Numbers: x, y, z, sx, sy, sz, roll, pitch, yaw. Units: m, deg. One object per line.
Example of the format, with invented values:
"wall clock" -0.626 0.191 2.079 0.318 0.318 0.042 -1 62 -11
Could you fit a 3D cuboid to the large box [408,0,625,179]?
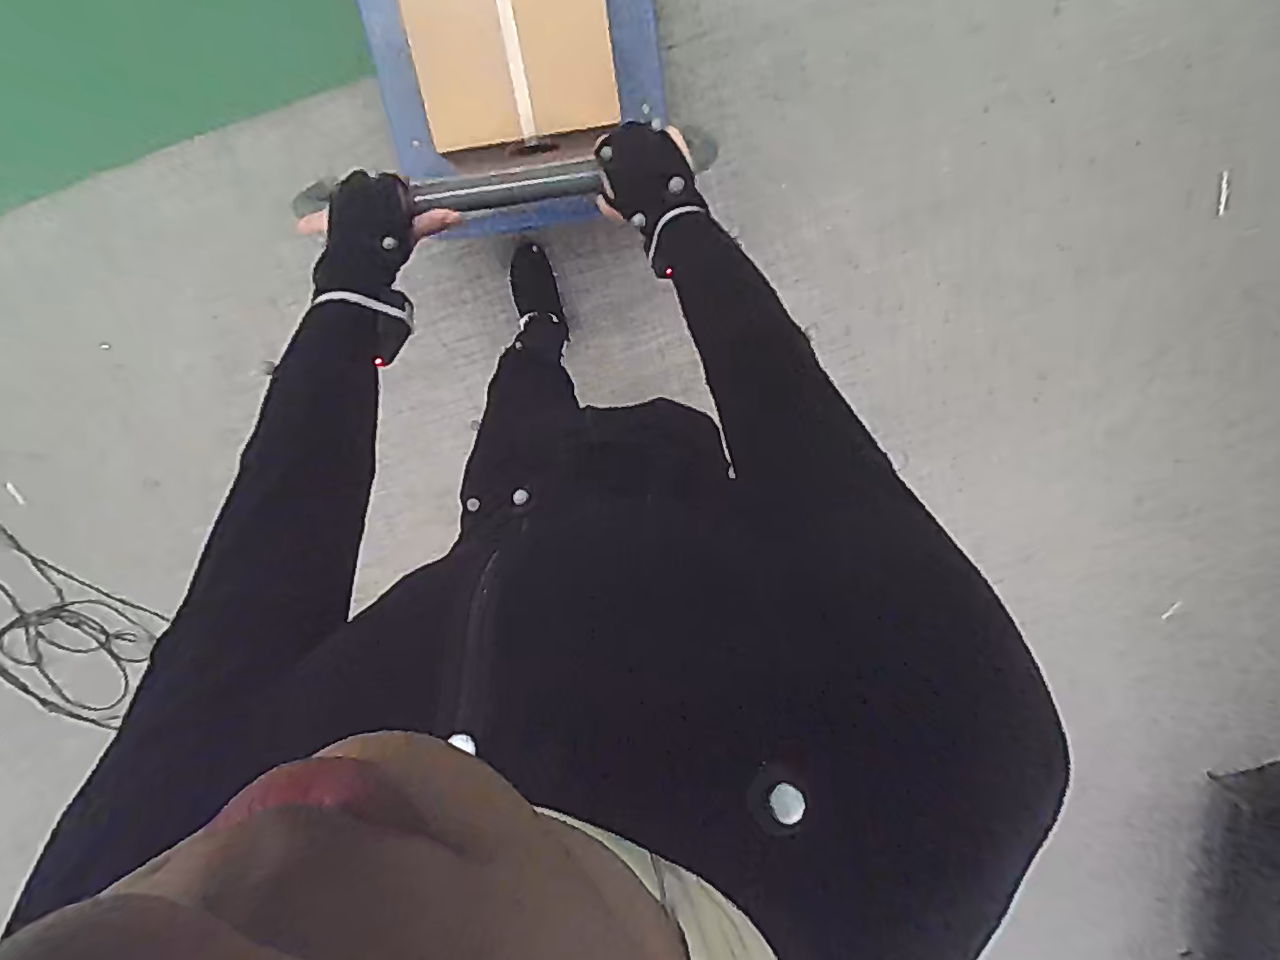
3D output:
"large box" -0.213 -0.812 0.973 0.320 0.320 0.408 -9 111 0
